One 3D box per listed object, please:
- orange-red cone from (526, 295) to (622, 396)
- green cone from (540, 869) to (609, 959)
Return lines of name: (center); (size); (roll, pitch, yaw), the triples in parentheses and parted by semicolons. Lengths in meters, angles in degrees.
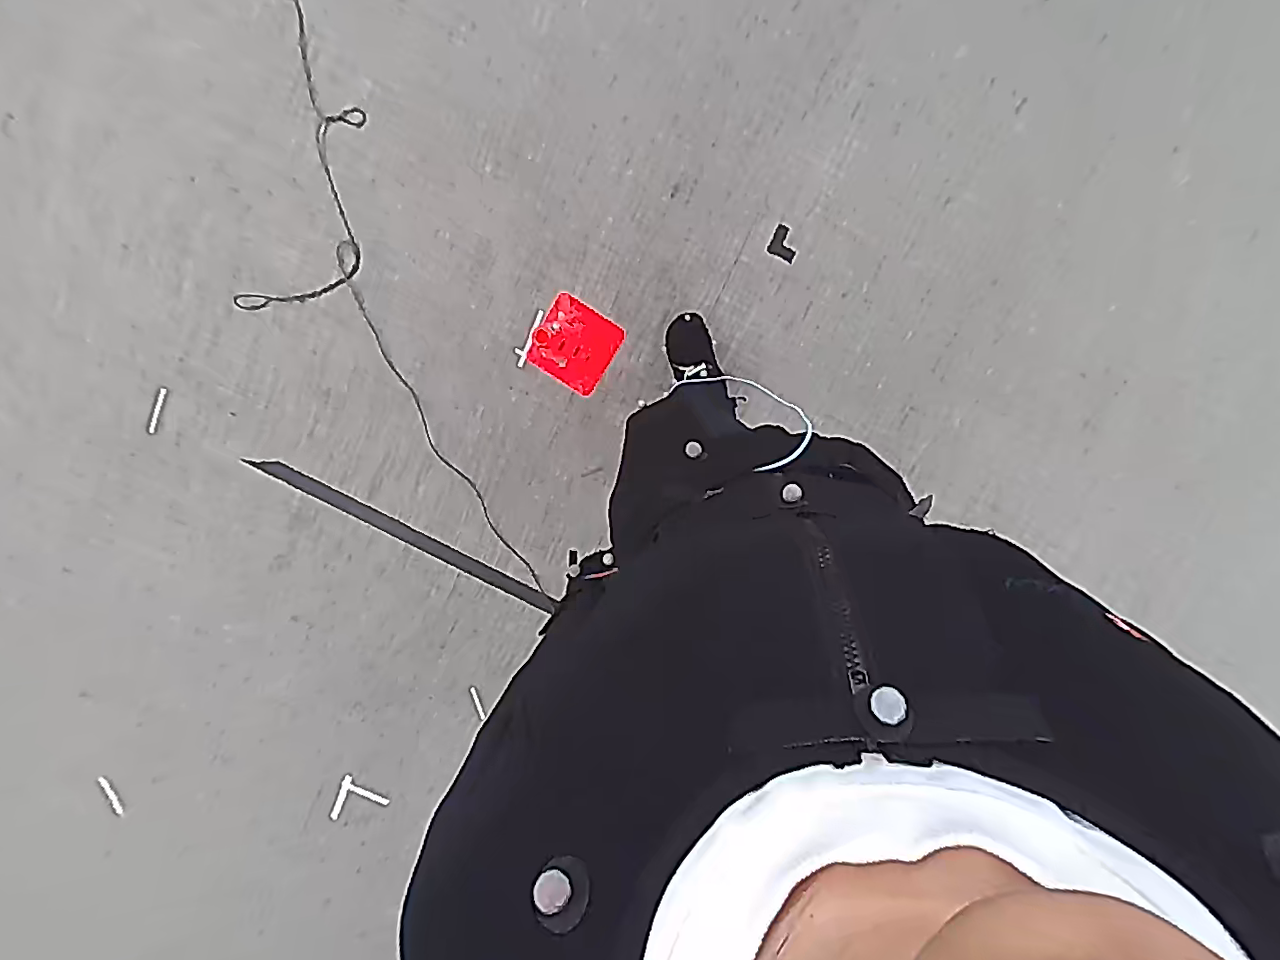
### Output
orange-red cone: (-0.179, -0.304, 1.206); (0.199, 0.360, 0.198); (34, 102, -4)
green cone: (-0.222, 1.353, 1.529); (0.202, 0.368, 0.200); (11, 101, 3)
